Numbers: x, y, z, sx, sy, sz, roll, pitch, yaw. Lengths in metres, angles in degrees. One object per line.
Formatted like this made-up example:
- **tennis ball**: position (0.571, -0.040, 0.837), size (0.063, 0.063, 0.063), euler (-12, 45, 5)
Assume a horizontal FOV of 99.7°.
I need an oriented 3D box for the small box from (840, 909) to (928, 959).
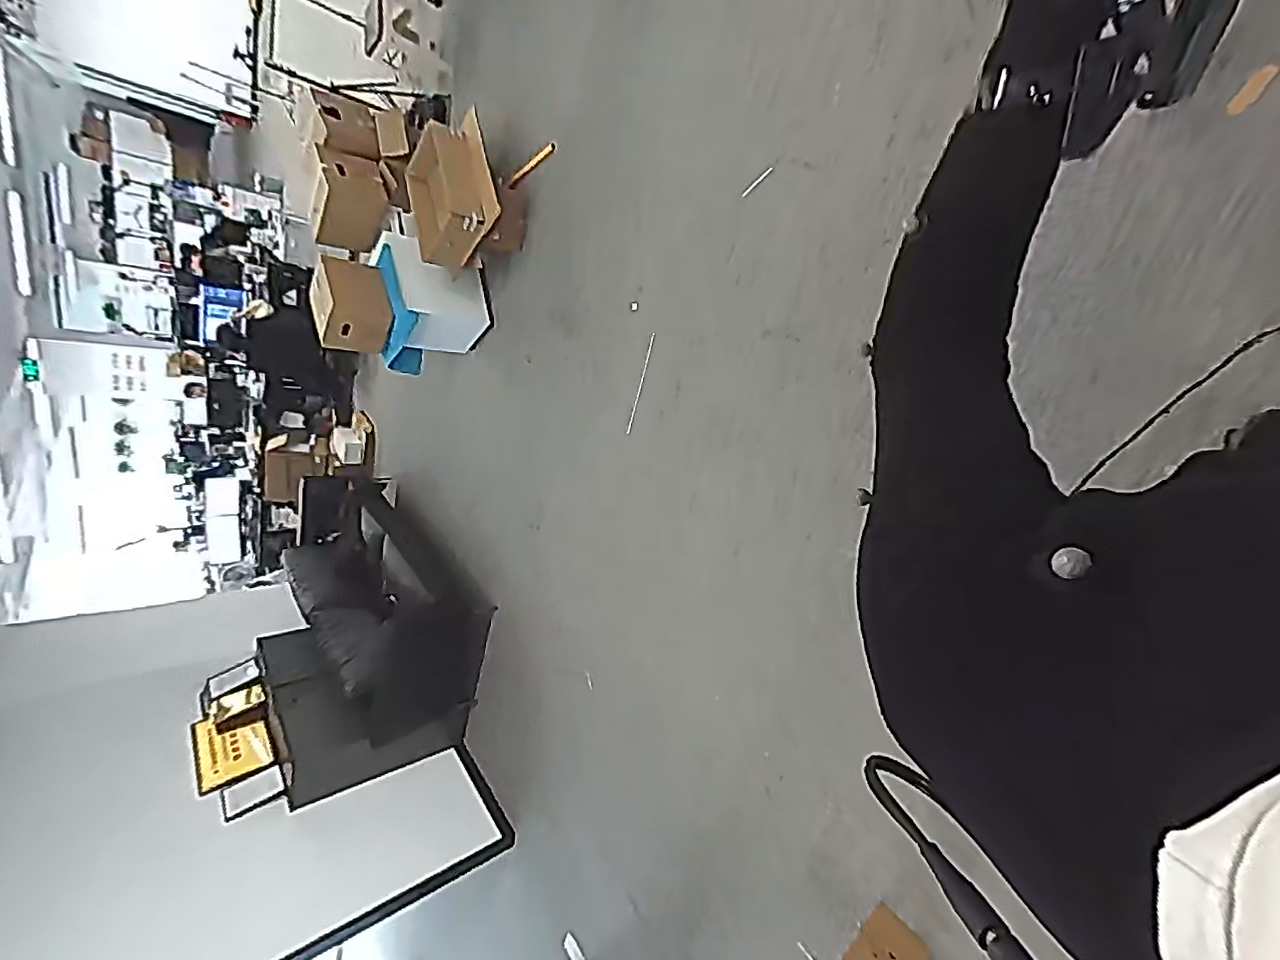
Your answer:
- **small box**: position (0.729, 1.458, 1.625), size (0.179, 0.176, 0.168), euler (34, 116, 42)
